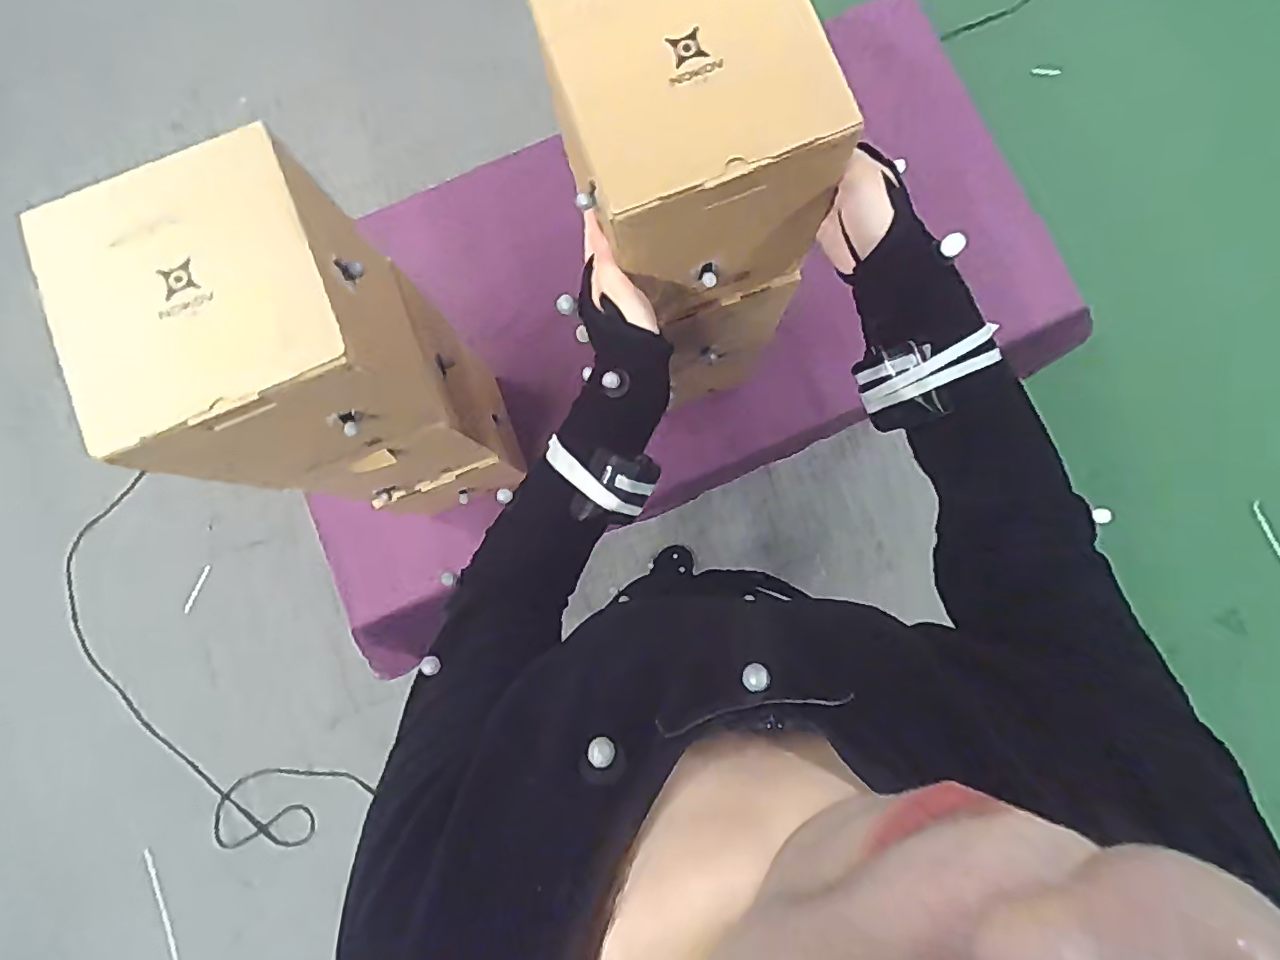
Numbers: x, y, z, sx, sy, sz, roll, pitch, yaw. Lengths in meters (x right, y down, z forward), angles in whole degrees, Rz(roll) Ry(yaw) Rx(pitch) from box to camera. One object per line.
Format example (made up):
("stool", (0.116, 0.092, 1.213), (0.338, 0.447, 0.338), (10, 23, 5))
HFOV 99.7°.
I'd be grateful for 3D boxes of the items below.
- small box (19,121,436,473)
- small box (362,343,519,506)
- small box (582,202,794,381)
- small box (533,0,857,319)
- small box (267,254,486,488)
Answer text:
("small box", (-0.283, -0.113, 0.413), (0.168, 0.176, 0.179), (-22, 83, -3))
("small box", (-0.281, -0.071, 0.738), (0.168, 0.176, 0.179), (-21, 84, -2))
("small box", (0.041, -0.231, 0.586), (0.168, 0.176, 0.179), (-19, 84, -1))
("small box", (0.033, -0.257, 0.420), (0.168, 0.176, 0.179), (-19, 84, 1))
("small box", (-0.283, -0.097, 0.575), (0.168, 0.176, 0.179), (-20, 83, -2))
